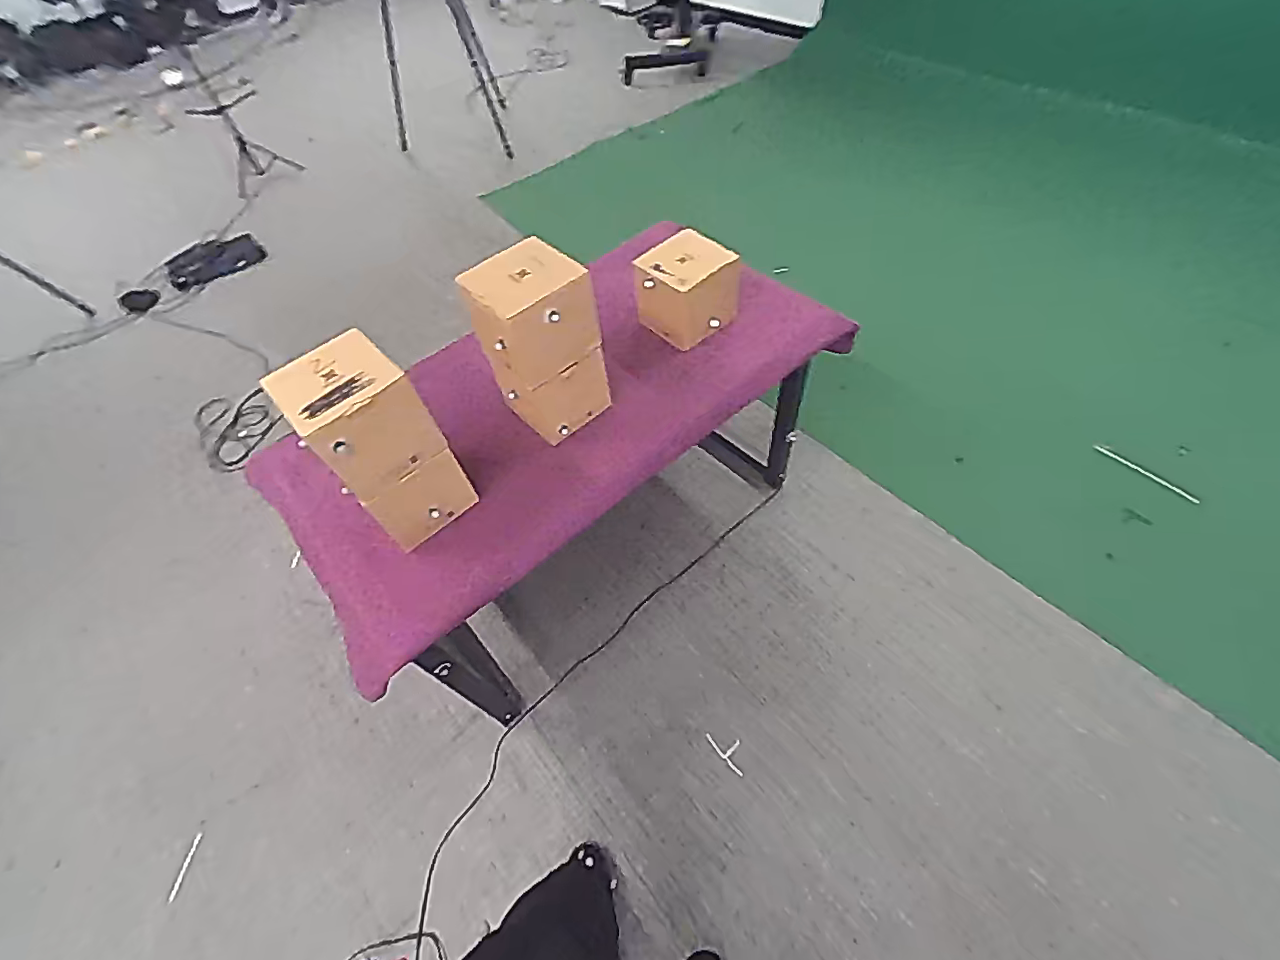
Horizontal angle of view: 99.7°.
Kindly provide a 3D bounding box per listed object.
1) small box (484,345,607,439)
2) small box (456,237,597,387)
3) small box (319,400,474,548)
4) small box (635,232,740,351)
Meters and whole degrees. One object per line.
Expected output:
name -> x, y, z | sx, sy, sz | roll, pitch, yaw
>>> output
small box -> -0.187, -0.210, 1.120 | 0.168, 0.176, 0.179 | -38, 59, -20
small box -> -0.197, -0.302, 0.986 | 0.179, 0.176, 0.168 | -38, 61, -21
small box -> -0.440, -0.007, 0.998 | 0.168, 0.176, 0.179 | -39, 61, -20
small box -> 0.106, -0.434, 1.251 | 0.179, 0.176, 0.168 | -37, 59, -19
